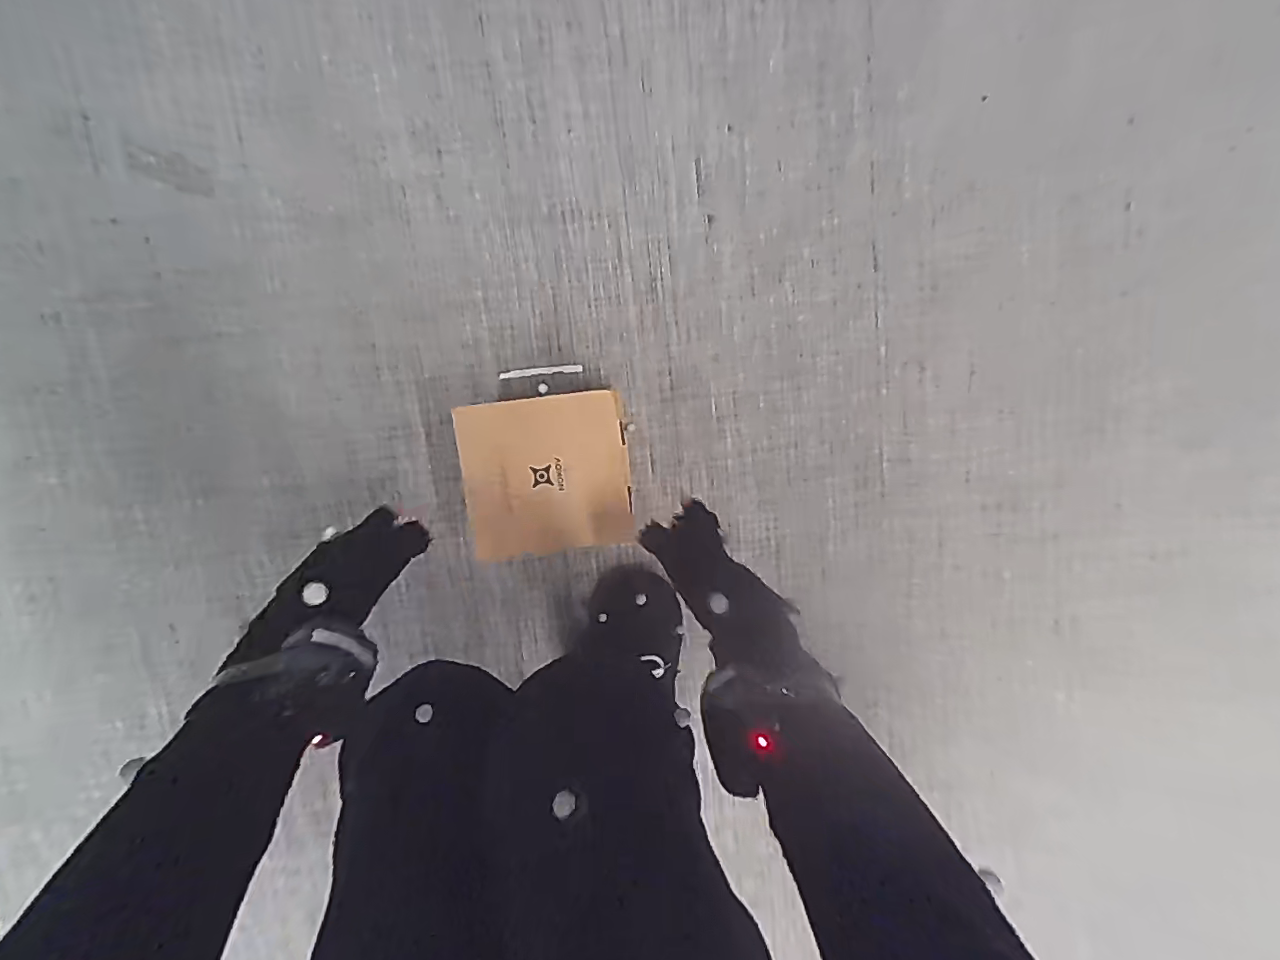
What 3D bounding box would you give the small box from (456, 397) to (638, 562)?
[{"bbox_3d":[-0.100,-0.011,0.658,0.179,0.176,0.168,-8,98,1],"label":"small box"}]
